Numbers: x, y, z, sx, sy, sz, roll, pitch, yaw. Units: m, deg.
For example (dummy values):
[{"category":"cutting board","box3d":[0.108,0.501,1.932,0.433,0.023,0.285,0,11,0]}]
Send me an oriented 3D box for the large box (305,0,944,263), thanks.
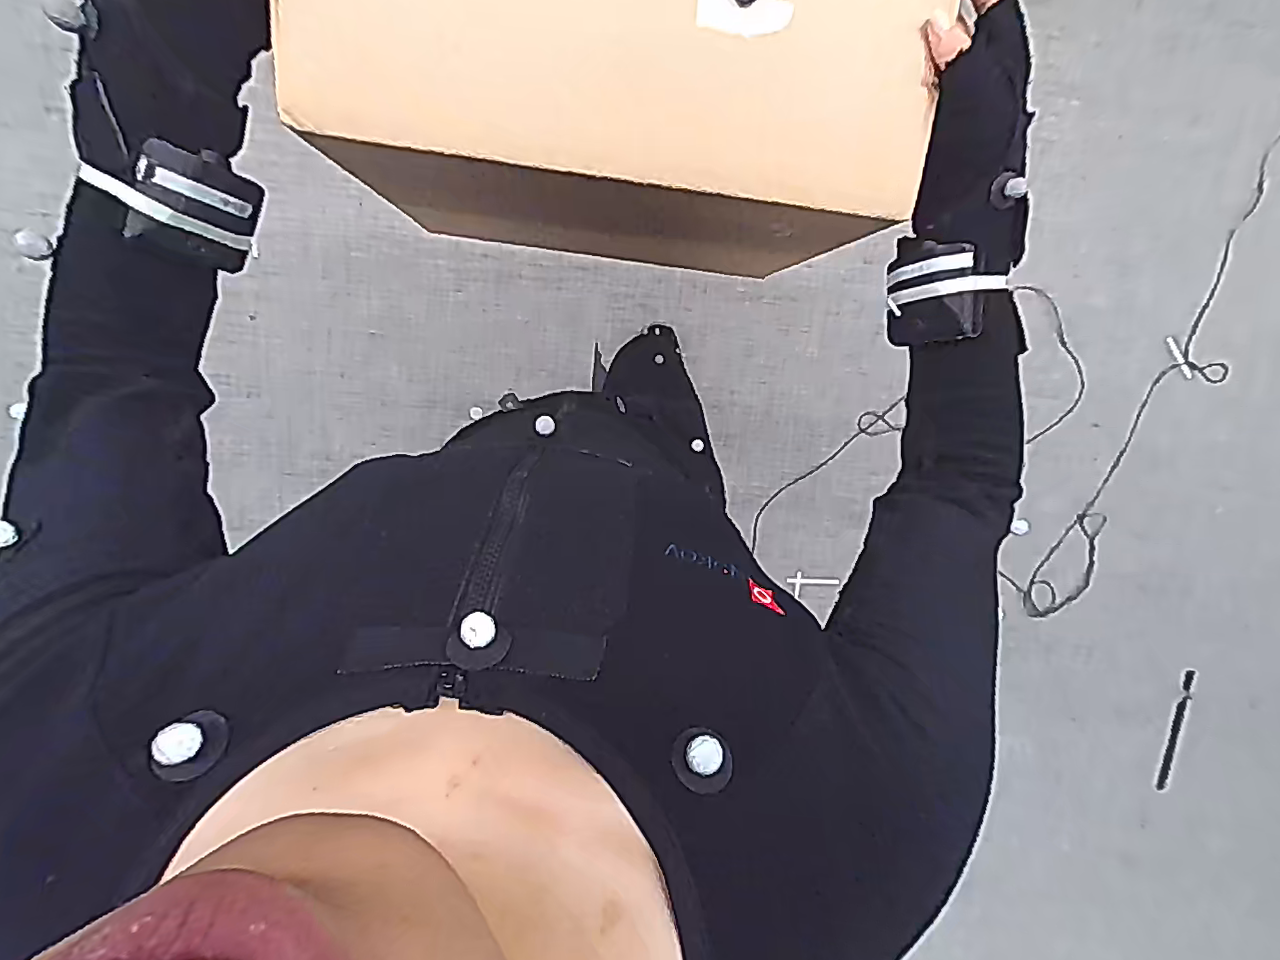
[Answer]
[{"category":"large box","box3d":[-0.012,-0.392,0.467,0.408,0.320,0.320,4,104,-7]}]
